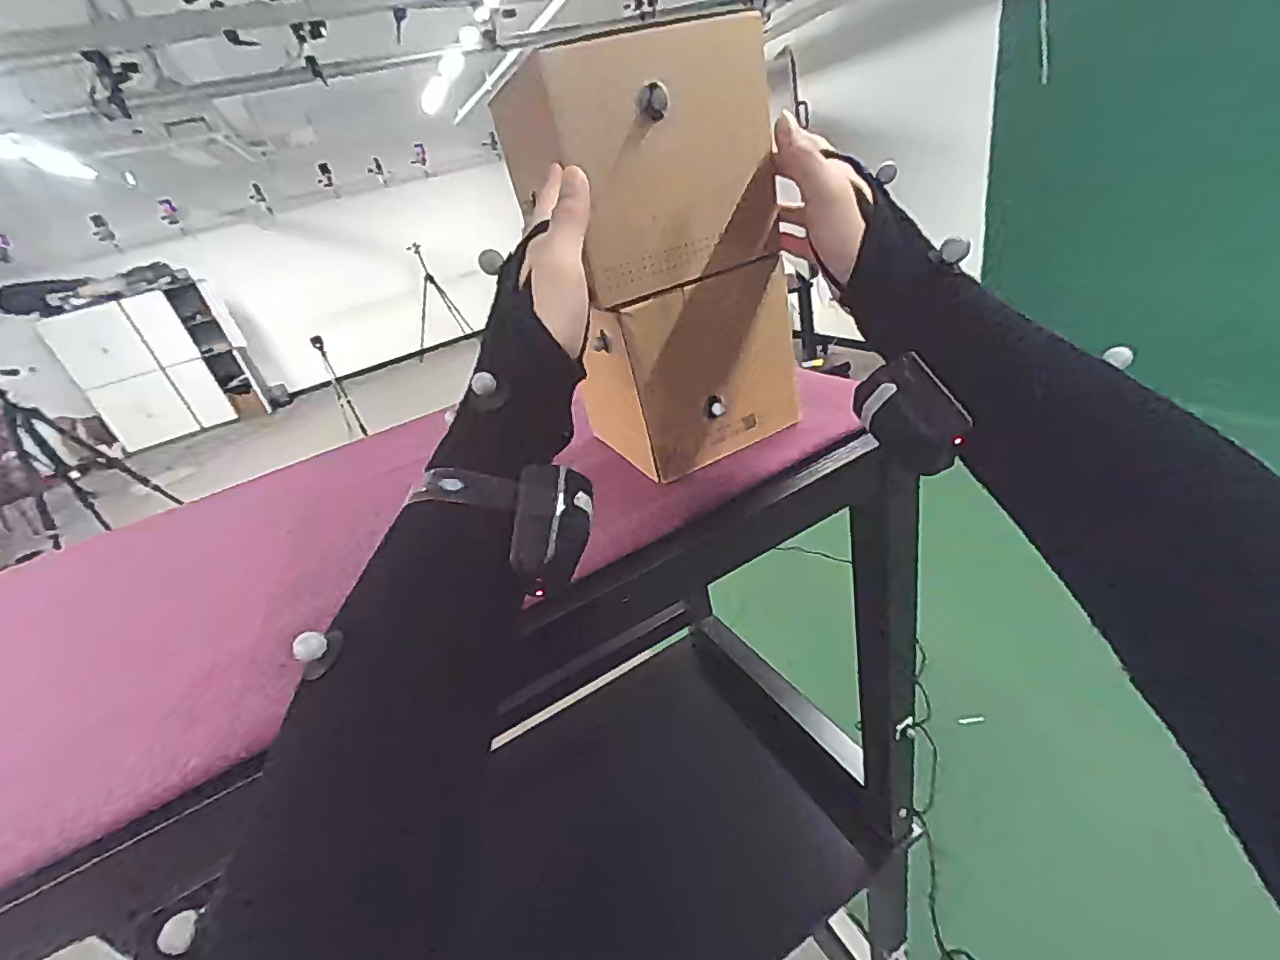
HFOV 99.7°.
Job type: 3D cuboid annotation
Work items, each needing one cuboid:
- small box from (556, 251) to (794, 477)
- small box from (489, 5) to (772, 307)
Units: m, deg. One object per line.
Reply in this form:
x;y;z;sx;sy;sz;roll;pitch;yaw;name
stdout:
0.035;-0.125;0.553;0.168;0.176;0.179;-25;31;-17;small box
-0.007;-0.260;0.464;0.179;0.176;0.168;-23;31;-14;small box
